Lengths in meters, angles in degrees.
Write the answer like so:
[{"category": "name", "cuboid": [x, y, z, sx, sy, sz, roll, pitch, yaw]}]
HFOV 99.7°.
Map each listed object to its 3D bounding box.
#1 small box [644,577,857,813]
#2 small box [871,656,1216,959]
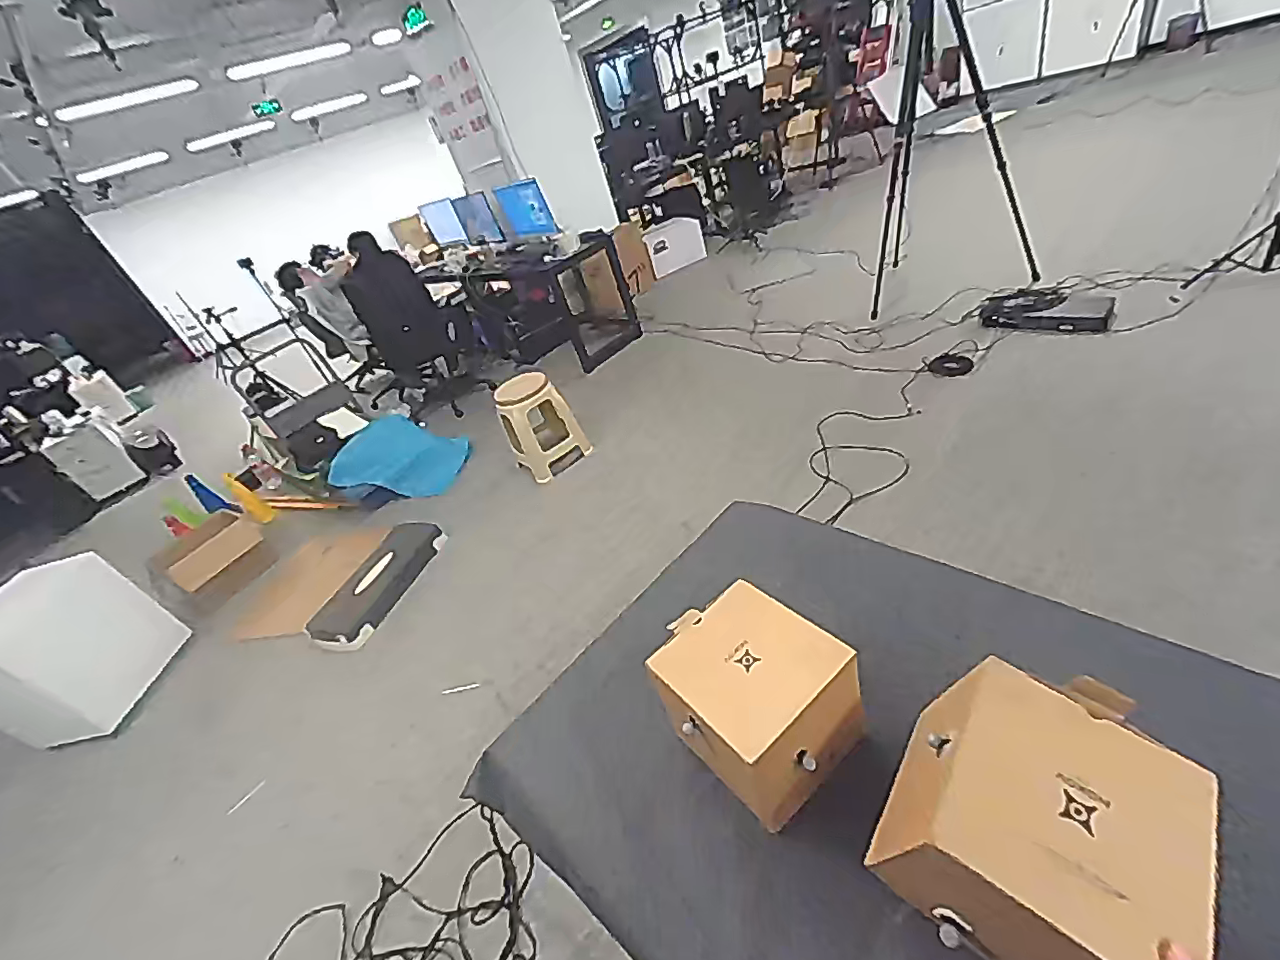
[{"category": "small box", "cuboid": [0.138, 0.258, 0.647, 0.168, 0.176, 0.179, -35, 36, -22]}, {"category": "small box", "cuboid": [0.323, 0.294, 0.460, 0.168, 0.176, 0.179, 29, 55, 22]}]
